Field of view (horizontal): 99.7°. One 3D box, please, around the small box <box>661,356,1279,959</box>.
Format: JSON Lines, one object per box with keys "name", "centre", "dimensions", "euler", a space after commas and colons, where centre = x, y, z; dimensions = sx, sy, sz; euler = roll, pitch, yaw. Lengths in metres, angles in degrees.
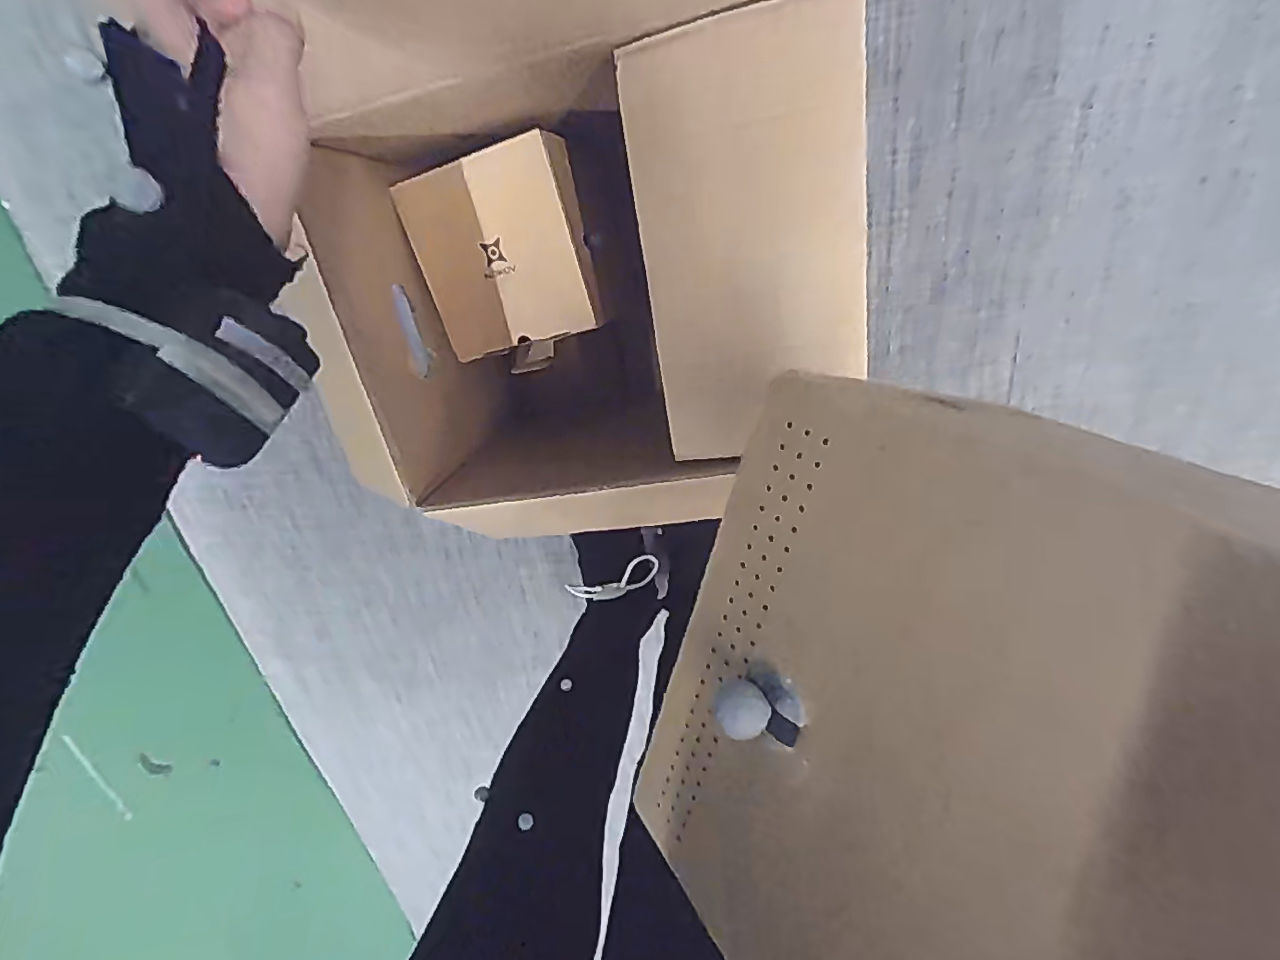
{"name": "small box", "centre": [0.127, 0.075, 0.173], "dimensions": [0.168, 0.176, 0.179], "euler": [0, 115, -34]}
